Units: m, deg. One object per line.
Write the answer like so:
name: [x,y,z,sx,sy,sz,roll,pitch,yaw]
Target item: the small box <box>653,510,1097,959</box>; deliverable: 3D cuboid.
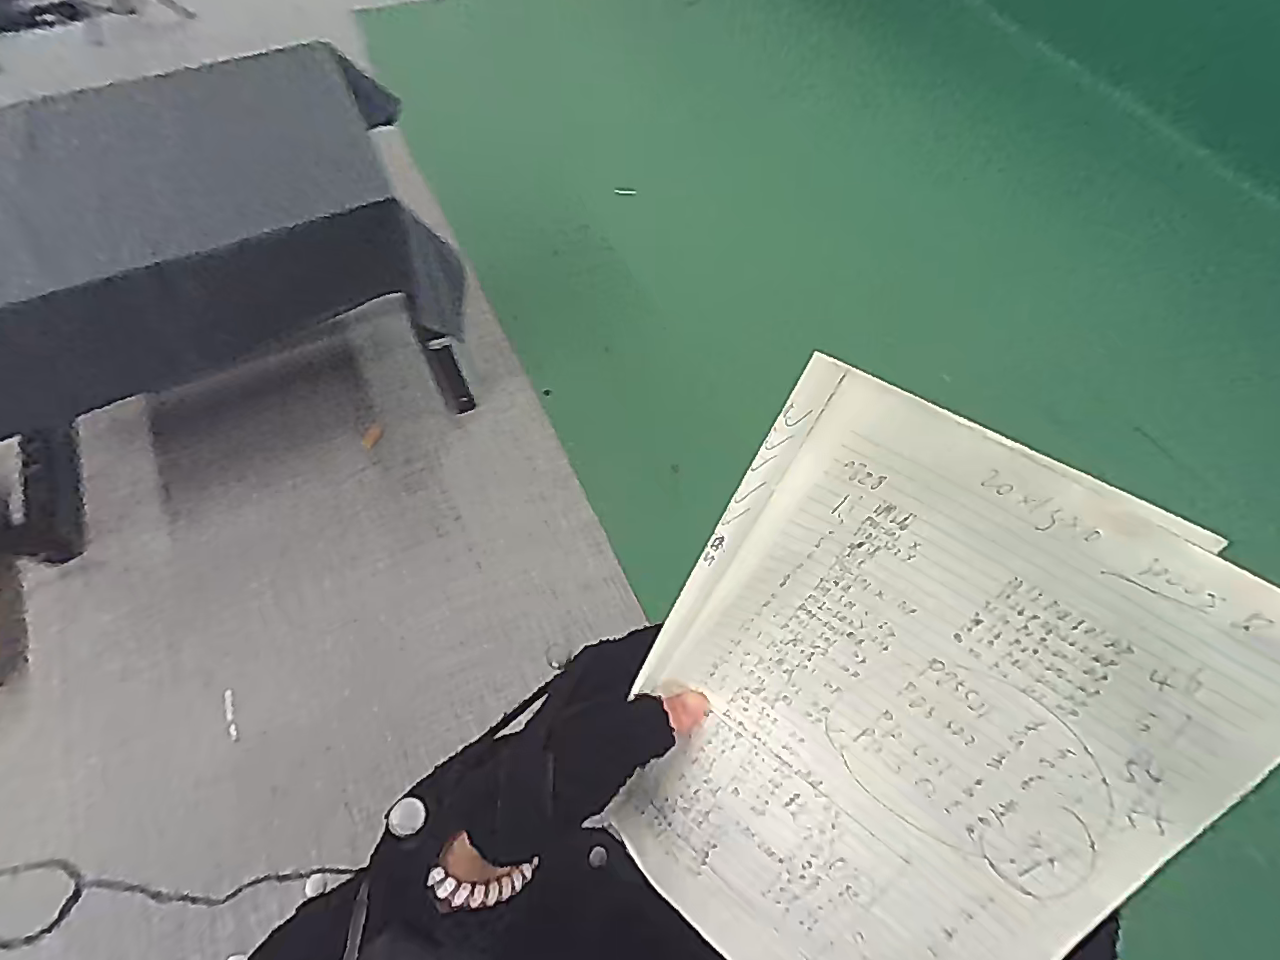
small box: [0.130,0.141,0.350,0.168,0.176,0.179,25,85,17]
